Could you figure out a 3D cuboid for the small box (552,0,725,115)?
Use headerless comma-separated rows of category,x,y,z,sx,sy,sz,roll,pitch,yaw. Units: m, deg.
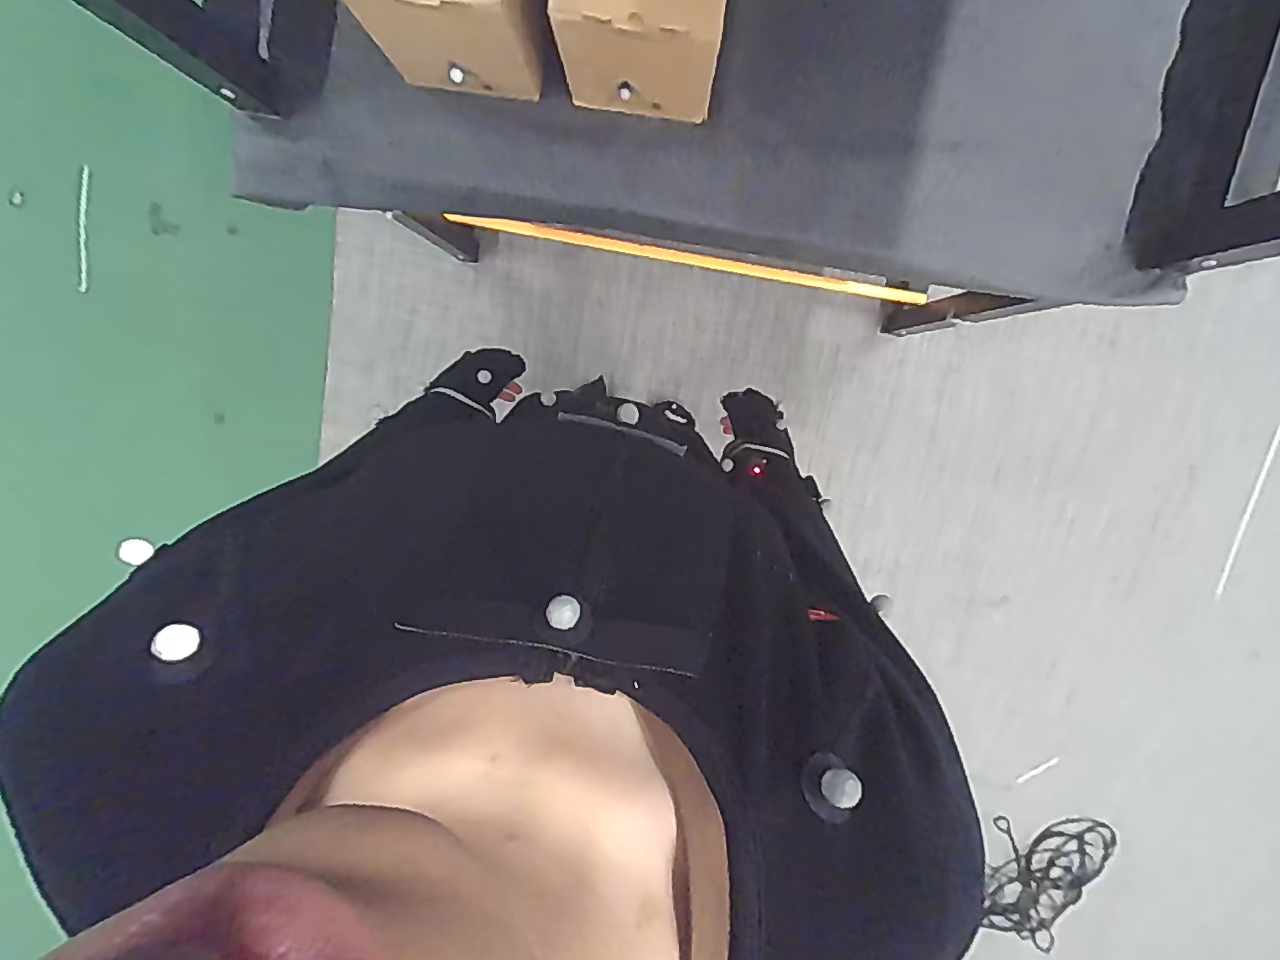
small box,0.007,-0.529,0.570,0.168,0.176,0.179,8,100,0

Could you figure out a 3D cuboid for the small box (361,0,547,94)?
small box,-0.196,-0.553,0.566,0.168,0.176,0.179,7,100,0
